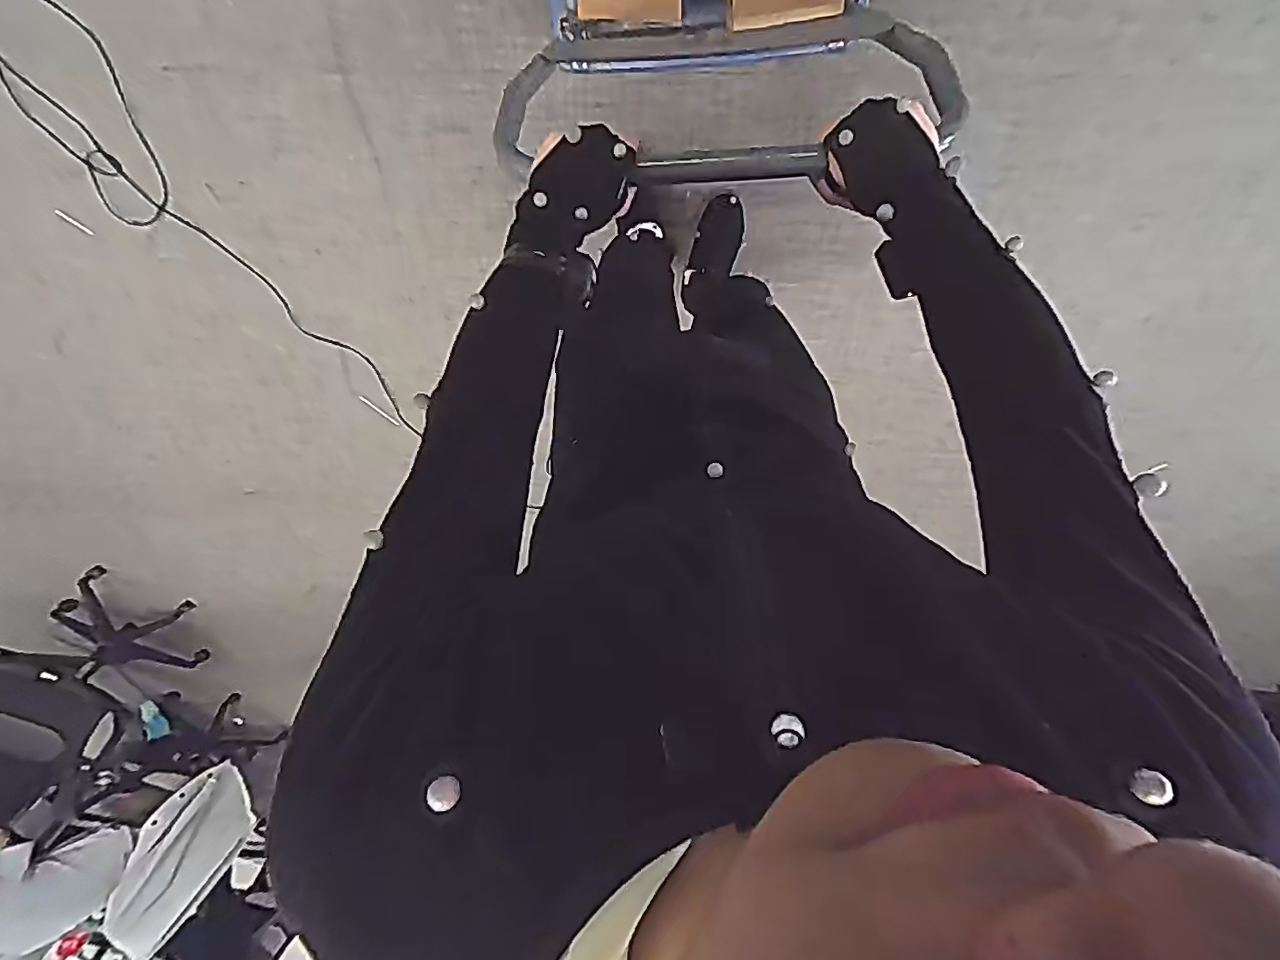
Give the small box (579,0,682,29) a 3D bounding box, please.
[{"bbox_3d":[-0.009,-0.852,0.872,0.168,0.176,0.179,4,134,0],"label":"small box"}]
